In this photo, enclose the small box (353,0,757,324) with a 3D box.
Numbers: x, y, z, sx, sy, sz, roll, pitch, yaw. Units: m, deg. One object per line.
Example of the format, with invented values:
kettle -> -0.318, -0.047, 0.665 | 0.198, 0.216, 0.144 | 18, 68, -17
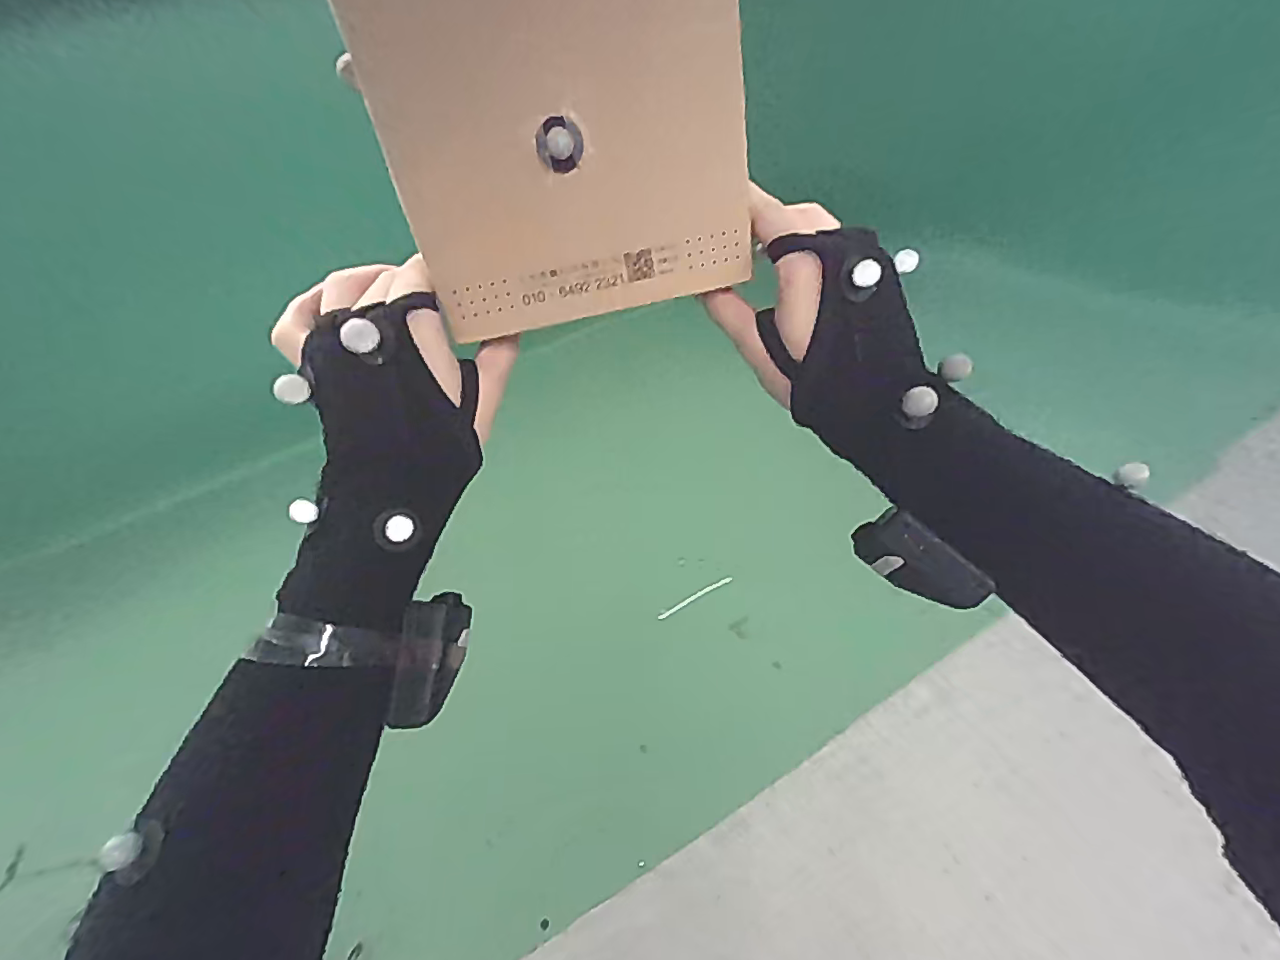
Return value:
small box -> -0.035, -0.202, 0.321 | 0.168, 0.176, 0.179 | -12, 31, -2
